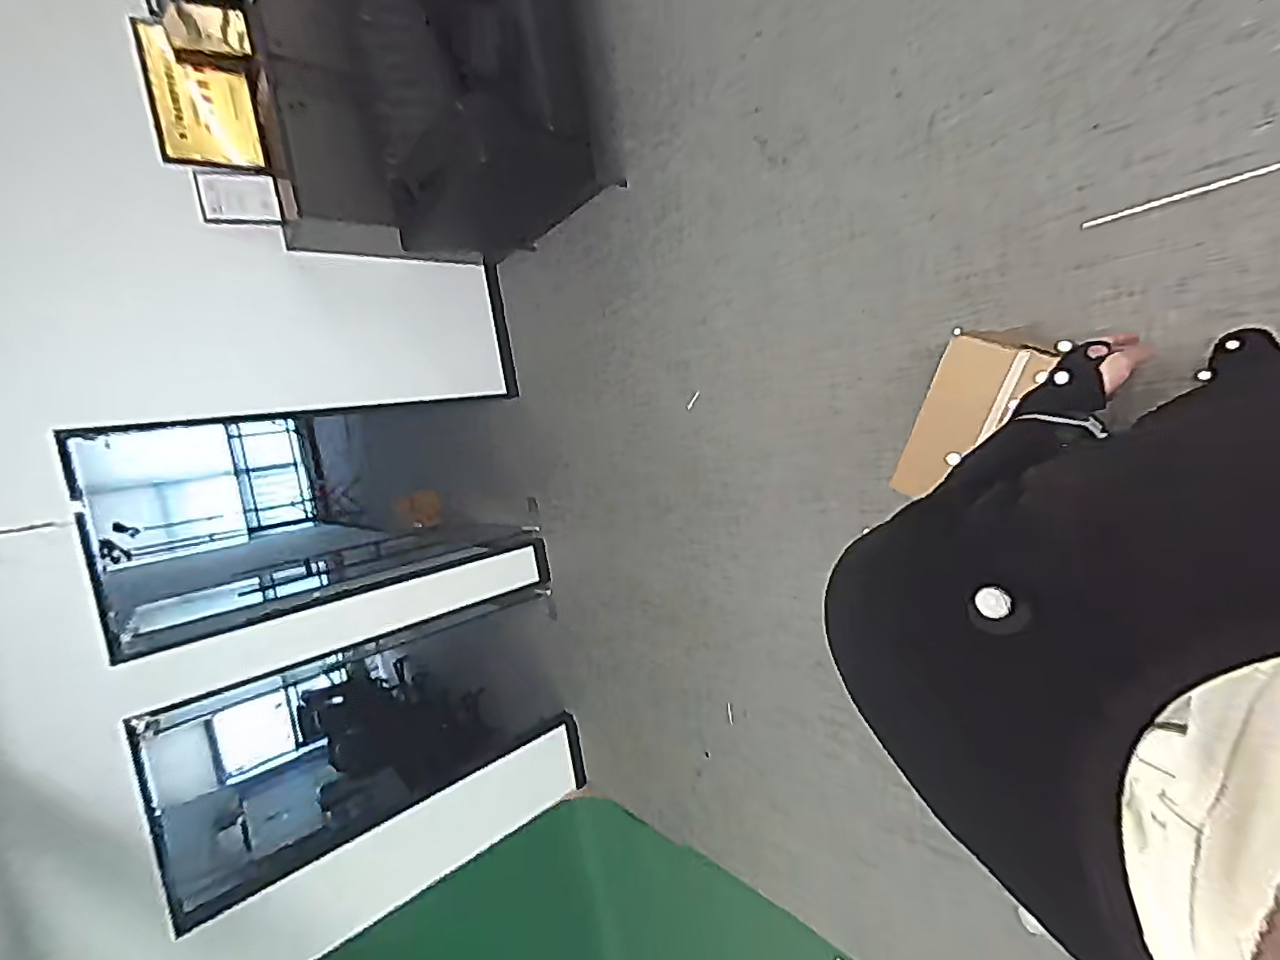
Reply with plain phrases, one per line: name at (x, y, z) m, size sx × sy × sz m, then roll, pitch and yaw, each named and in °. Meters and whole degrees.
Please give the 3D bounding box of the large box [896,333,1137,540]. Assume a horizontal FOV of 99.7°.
large box at (0.906, -0.123, 1.325) m, size 0.320 × 0.320 × 0.408 m, roll 33°, pitch 123°, yaw 40°
